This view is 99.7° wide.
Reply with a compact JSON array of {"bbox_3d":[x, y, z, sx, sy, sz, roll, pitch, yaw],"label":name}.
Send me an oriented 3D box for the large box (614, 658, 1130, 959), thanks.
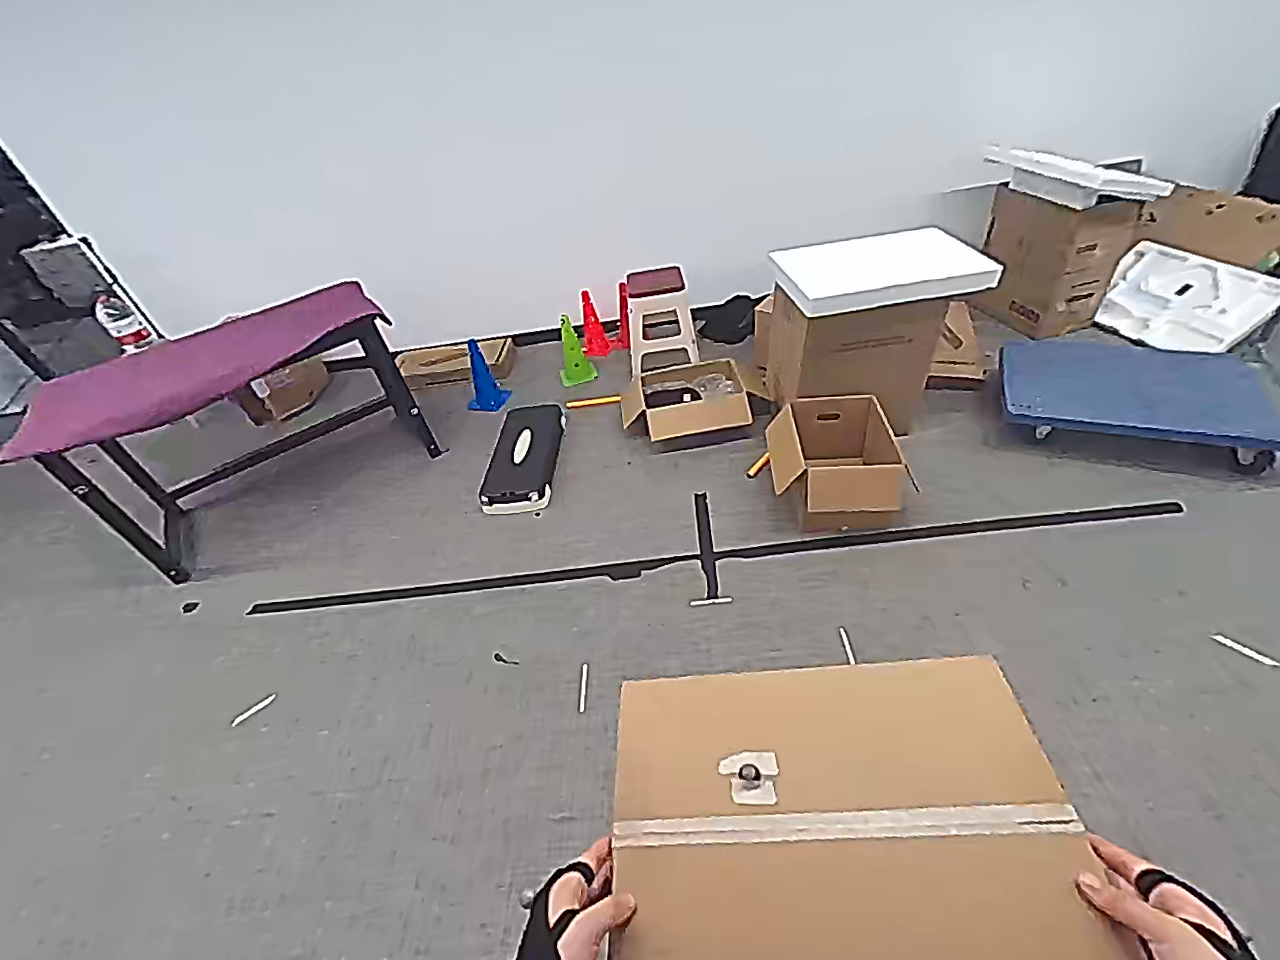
[{"bbox_3d":[0.204,0.433,0.596,0.408,0.320,0.320,-8,40,8],"label":"large box"}]
